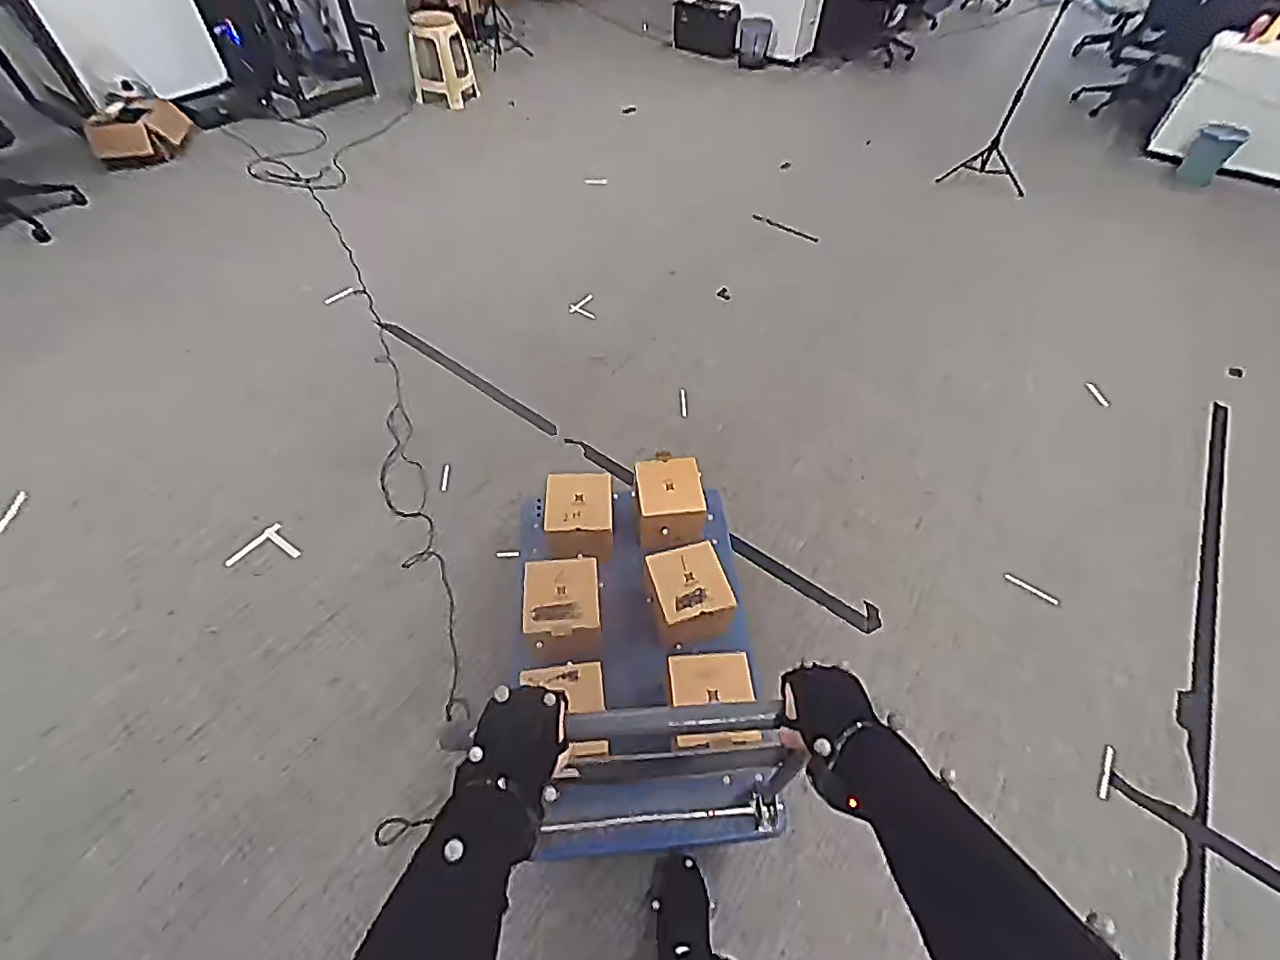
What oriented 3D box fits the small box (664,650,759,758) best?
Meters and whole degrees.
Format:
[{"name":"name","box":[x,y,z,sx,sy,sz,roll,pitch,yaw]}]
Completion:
[{"name":"small box","box":[0.142,0.479,1.146,0.168,0.176,0.179,-2,52,-4]}]

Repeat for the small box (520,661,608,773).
[{"name":"small box","box":[-0.154,0.495,1.120,0.168,0.176,0.179,-5,53,-7]}]

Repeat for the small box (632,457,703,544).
[{"name":"small box","box":[0.069,0.061,1.464,0.168,0.176,0.179,-5,53,-6]}]

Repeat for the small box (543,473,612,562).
[{"name":"small box","box":[-0.159,0.100,1.424,0.168,0.176,0.179,-1,53,-3]}]

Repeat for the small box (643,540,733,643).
[{"name":"small box","box":[0.107,0.275,1.300,0.168,0.176,0.179,-12,53,-11]}]
